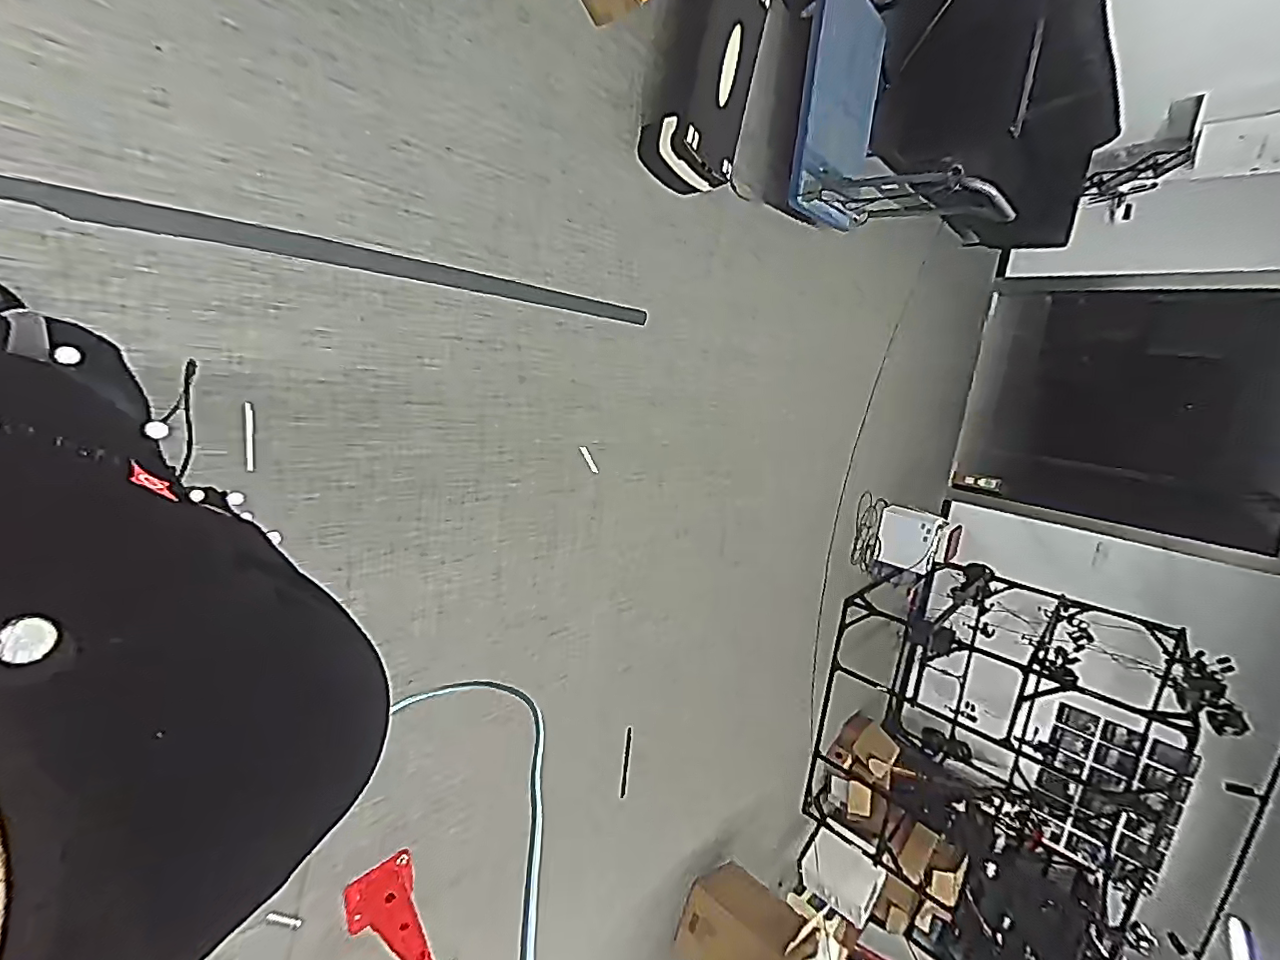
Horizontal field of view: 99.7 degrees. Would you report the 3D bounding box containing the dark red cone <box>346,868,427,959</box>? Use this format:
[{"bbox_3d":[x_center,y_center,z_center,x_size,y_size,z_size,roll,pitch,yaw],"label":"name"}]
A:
[{"bbox_3d":[-0.669,1.350,1.545,0.201,0.394,0.202,-15,114,-43],"label":"dark red cone"}]
